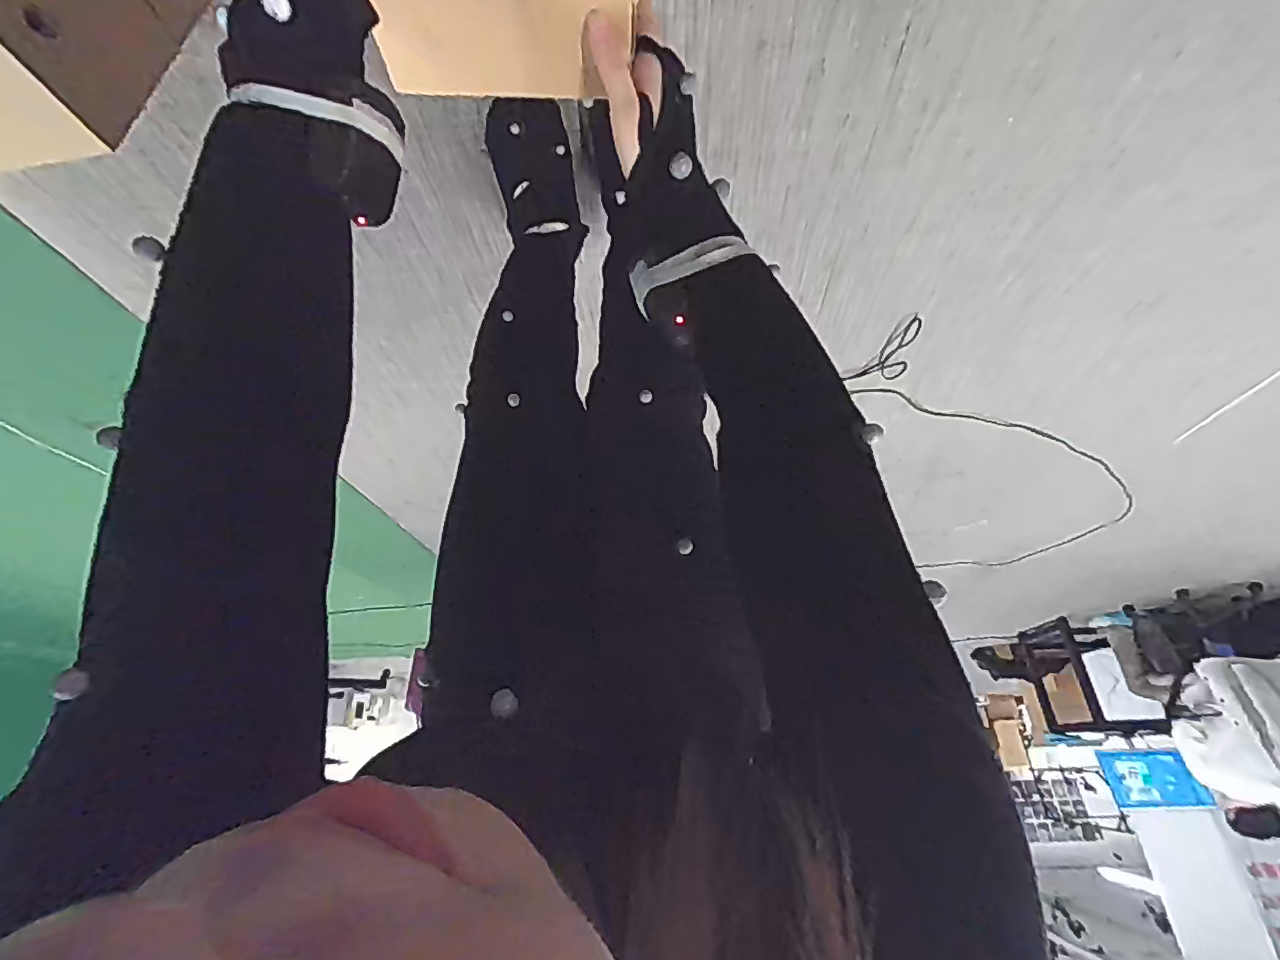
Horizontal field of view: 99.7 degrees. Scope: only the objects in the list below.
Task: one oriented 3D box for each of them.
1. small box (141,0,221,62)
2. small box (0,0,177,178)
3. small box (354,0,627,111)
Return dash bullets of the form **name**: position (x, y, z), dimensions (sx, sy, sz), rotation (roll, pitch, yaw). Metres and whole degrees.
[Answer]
- **small box**: position (-0.543, -0.530, 0.511), dimensions (0.168, 0.176, 0.179), rotation (-4, 152, 4)
- **small box**: position (-0.541, -0.382, 0.438), dimensions (0.168, 0.176, 0.179), rotation (-5, 152, 5)
- **small box**: position (-0.095, -0.386, 0.358), dimensions (0.179, 0.176, 0.168), rotation (0, 160, -2)
